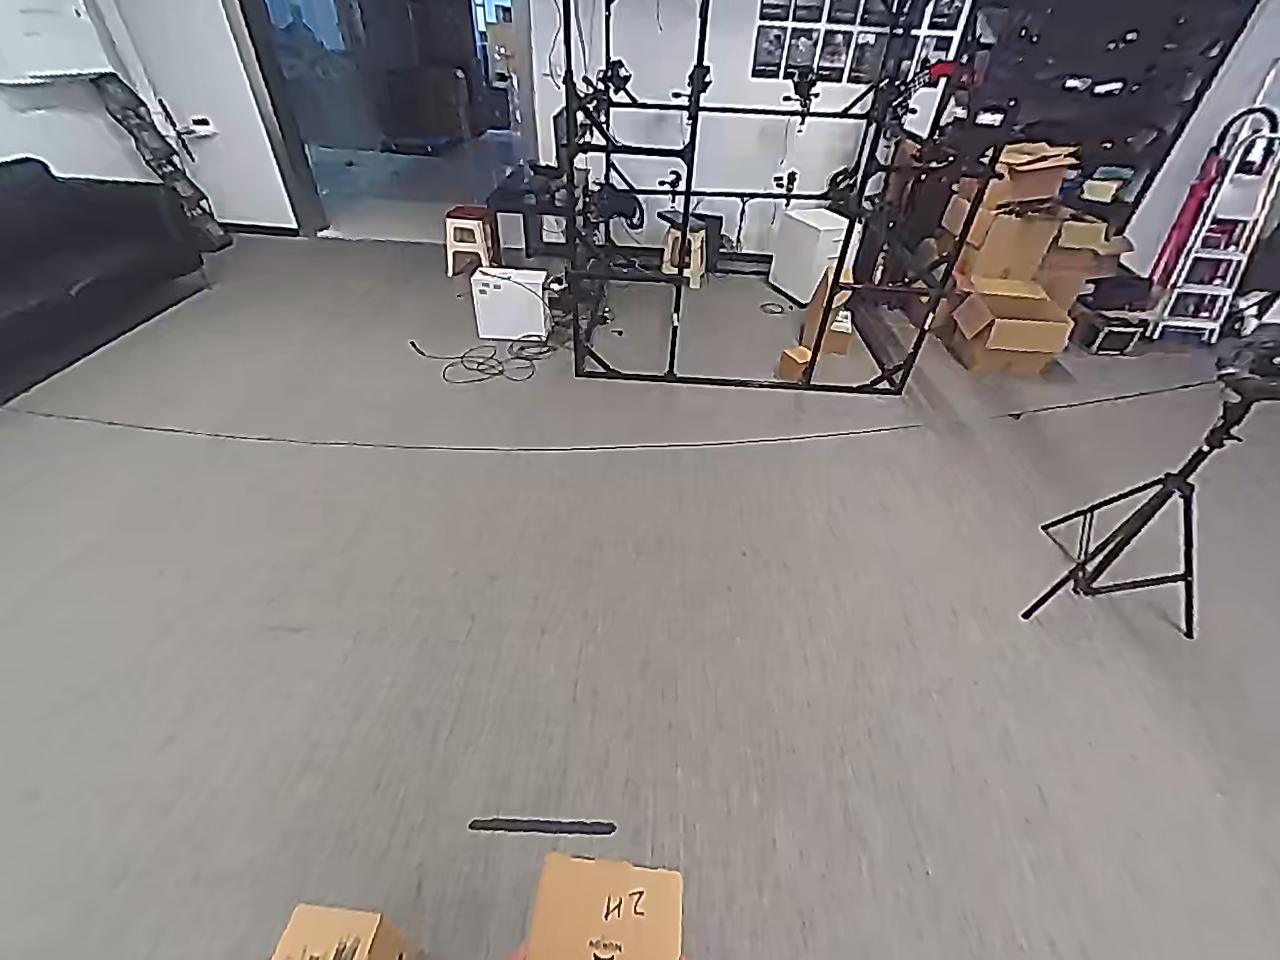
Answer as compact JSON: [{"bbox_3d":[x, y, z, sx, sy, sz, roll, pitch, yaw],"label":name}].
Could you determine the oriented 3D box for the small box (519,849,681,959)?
[{"bbox_3d":[-0.054,0.555,0.616,0.168,0.176,0.179,11,42,-3],"label":"small box"}]

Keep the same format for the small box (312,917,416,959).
[{"bbox_3d":[-0.597,1.066,1.147,0.168,0.176,0.179,4,39,2],"label":"small box"}]
